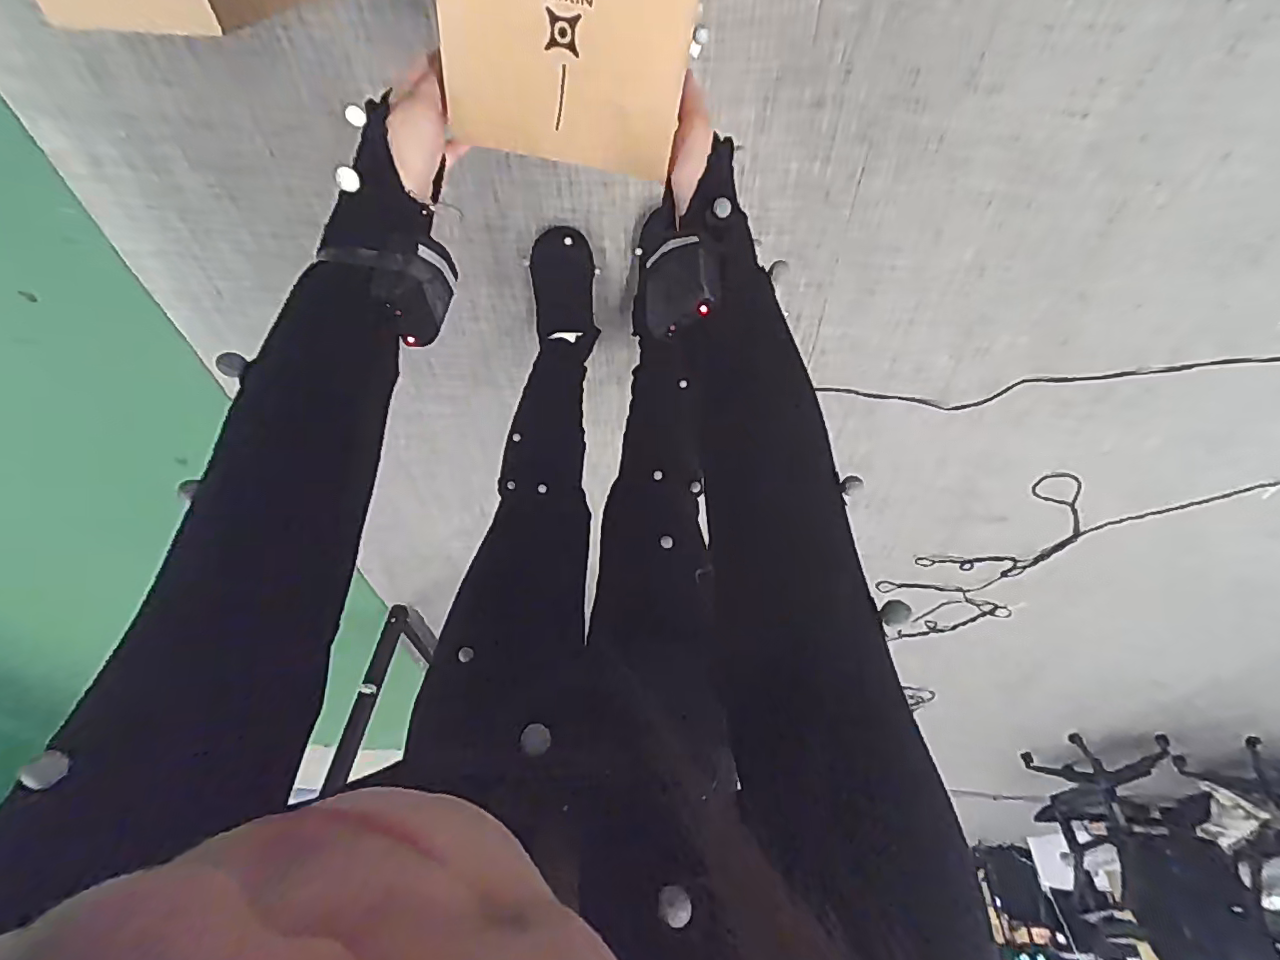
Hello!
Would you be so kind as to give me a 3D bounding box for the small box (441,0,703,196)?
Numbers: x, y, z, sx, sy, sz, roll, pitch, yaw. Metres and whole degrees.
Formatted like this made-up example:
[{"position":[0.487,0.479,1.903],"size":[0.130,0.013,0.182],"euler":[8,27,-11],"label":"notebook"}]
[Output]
[{"position":[-0.044,-0.354,0.407],"size":[0.168,0.176,0.179],"euler":[9,142,-6],"label":"small box"}]
